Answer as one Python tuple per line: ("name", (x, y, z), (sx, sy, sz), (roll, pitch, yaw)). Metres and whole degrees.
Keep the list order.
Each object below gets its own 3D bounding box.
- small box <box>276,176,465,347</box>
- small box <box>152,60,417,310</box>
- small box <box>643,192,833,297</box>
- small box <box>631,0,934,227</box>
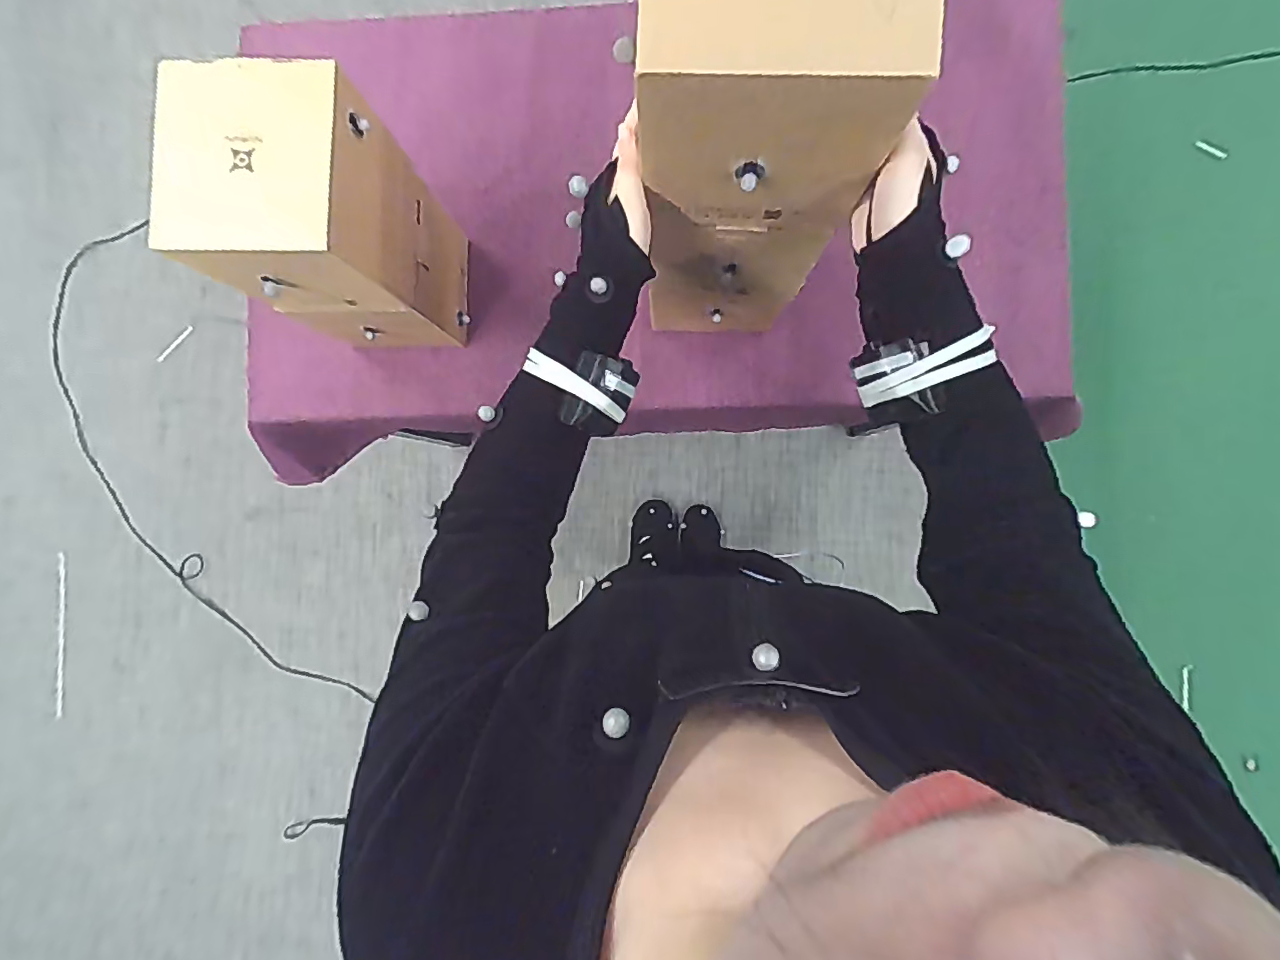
("small box", (-0.346, -0.281, 0.725), (0.179, 0.176, 0.168), (0, 89, 2))
("small box", (-0.349, -0.287, 0.563), (0.168, 0.176, 0.179), (1, 88, 2))
("small box", (0.096, -0.298, 0.545), (0.168, 0.176, 0.179), (5, 90, 2))
("small box", (0.086, -0.301, 0.380), (0.168, 0.176, 0.179), (4, 88, 2))
